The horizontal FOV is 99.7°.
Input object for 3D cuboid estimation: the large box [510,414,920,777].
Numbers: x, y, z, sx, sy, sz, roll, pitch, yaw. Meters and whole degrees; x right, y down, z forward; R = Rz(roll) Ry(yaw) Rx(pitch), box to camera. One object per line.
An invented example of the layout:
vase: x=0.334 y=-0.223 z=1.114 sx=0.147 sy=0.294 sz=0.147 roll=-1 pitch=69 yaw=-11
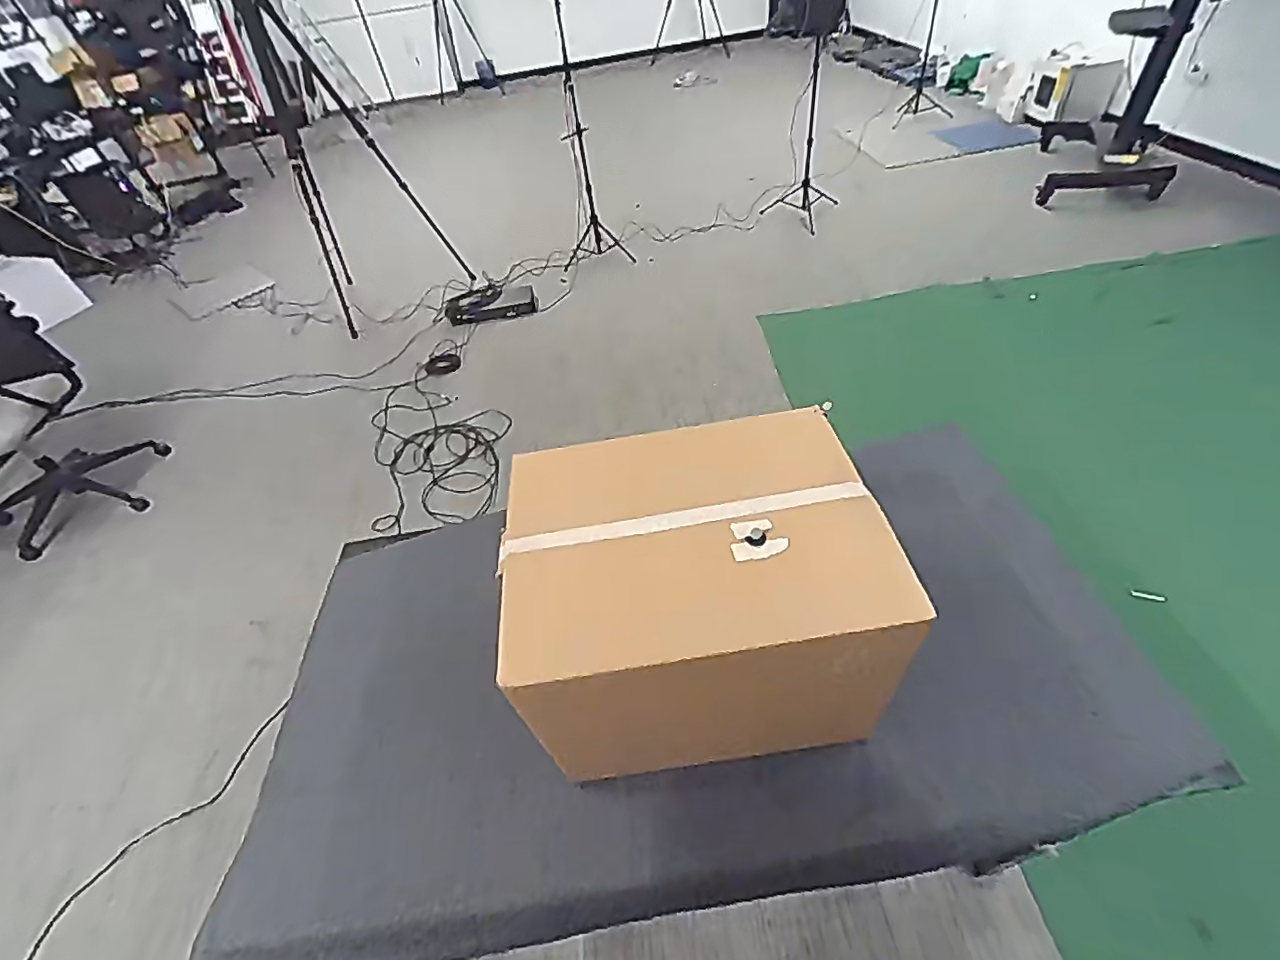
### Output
large box: x=0.068 y=0.154 z=0.716 sx=0.408 sy=0.320 sz=0.320 roll=-9 pitch=47 yaw=0
